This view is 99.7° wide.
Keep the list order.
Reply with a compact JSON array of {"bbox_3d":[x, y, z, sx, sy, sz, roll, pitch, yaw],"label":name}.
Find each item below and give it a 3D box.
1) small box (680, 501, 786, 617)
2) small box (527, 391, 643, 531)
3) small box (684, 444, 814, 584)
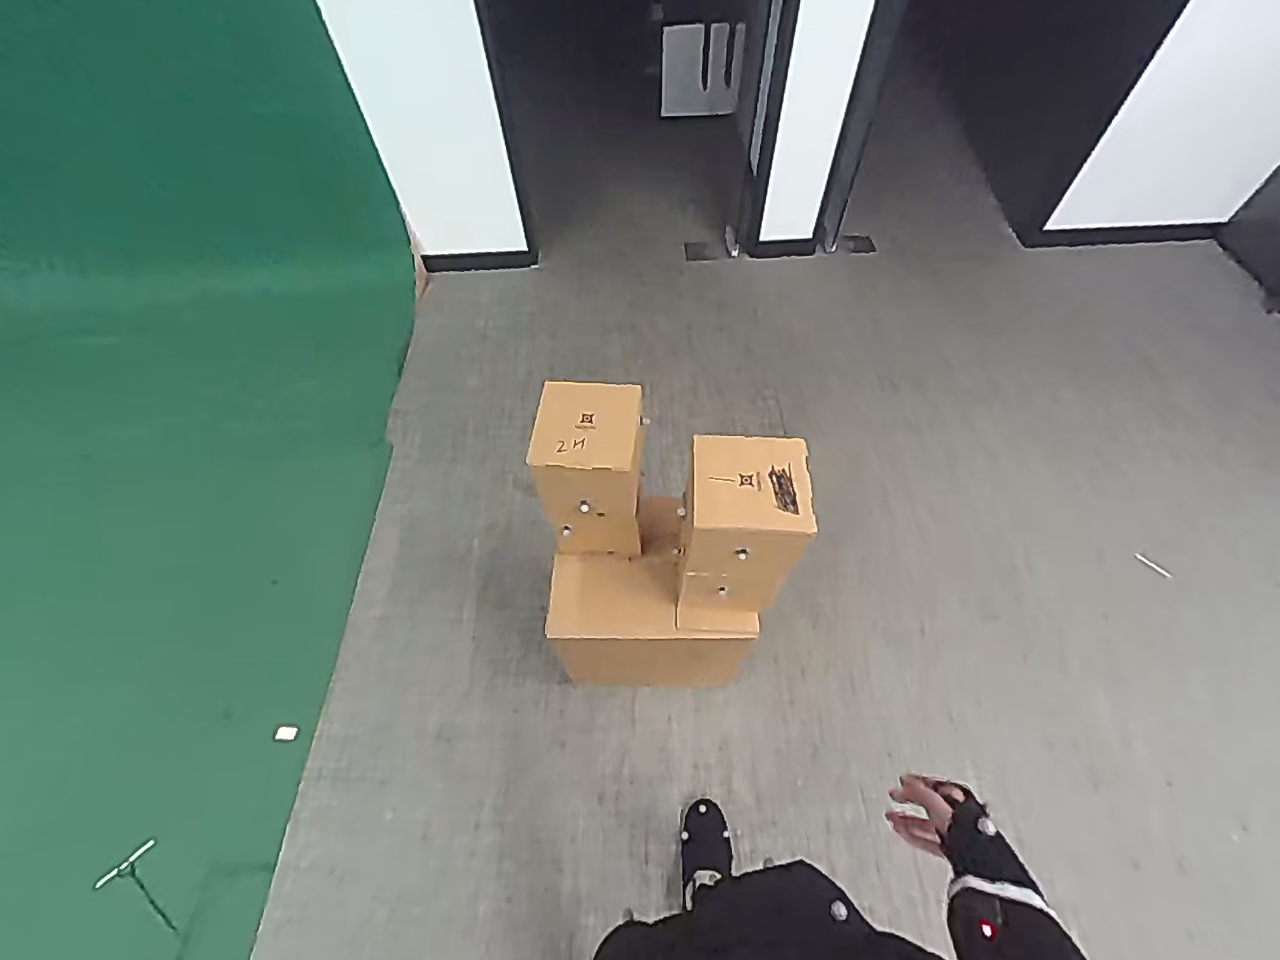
[{"bbox_3d":[0.163,0.150,1.006,0.179,0.176,0.168,1,59,3],"label":"small box"},{"bbox_3d":[-0.085,-0.032,0.941,0.168,0.176,0.179,3,57,5],"label":"small box"},{"bbox_3d":[0.164,0.060,0.870,0.179,0.176,0.168,2,57,3],"label":"small box"}]
